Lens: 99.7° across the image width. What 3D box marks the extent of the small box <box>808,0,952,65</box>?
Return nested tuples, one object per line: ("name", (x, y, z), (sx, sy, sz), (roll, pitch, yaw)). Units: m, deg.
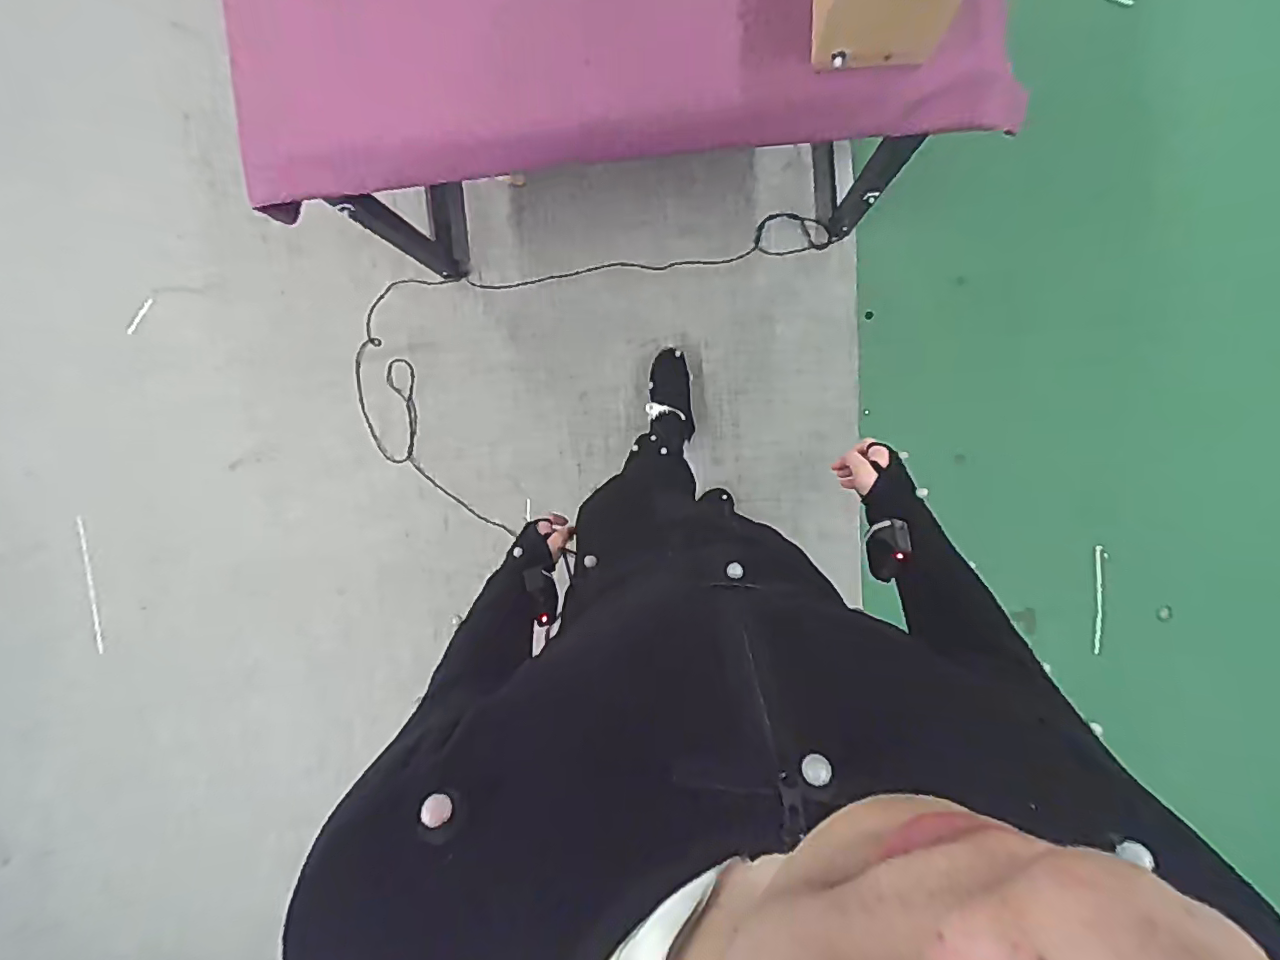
("small box", (0.327, -0.694, 0.723), (0.168, 0.176, 0.179), (0, 93, 5))
